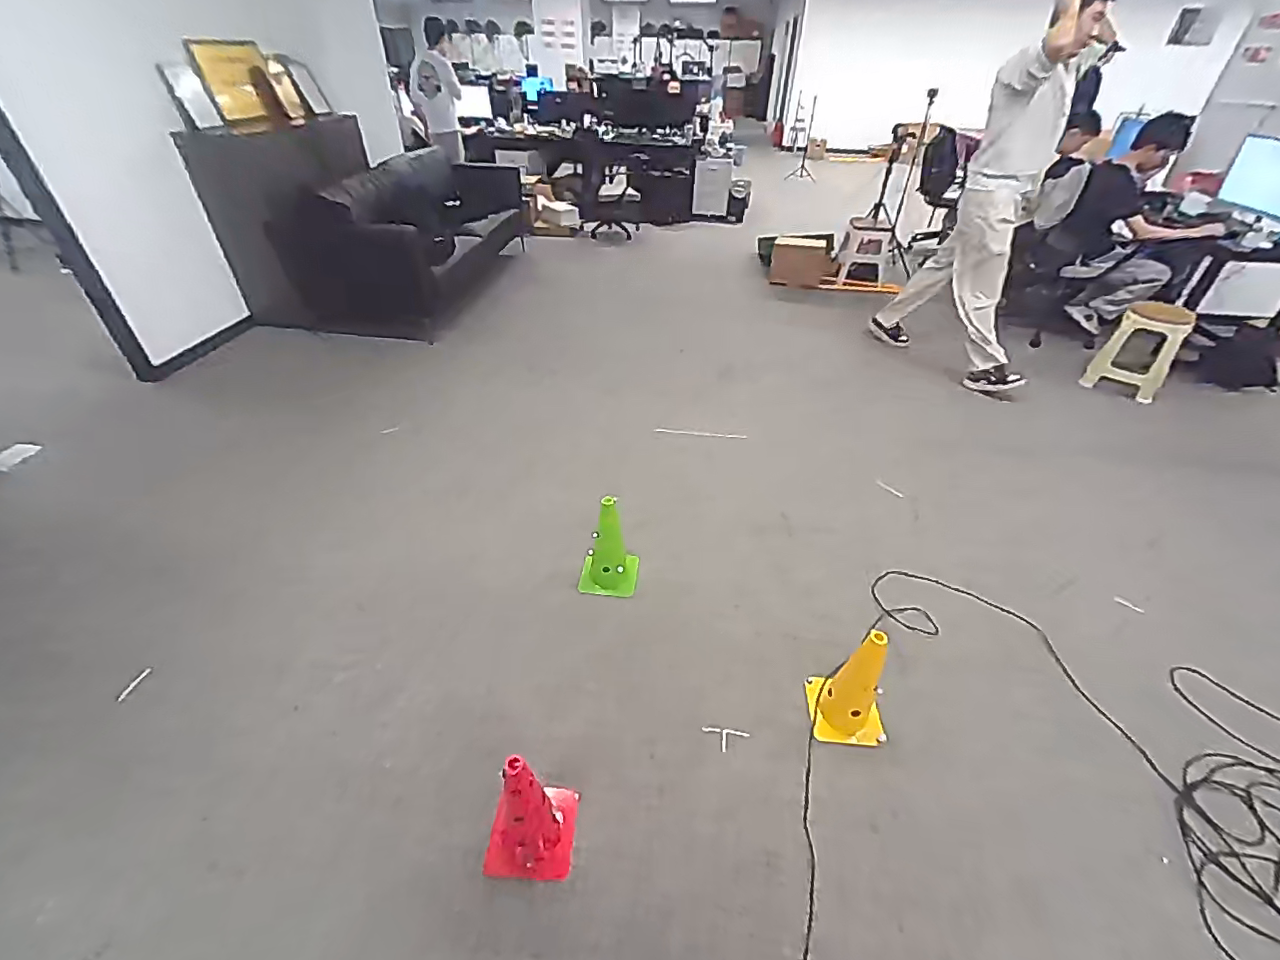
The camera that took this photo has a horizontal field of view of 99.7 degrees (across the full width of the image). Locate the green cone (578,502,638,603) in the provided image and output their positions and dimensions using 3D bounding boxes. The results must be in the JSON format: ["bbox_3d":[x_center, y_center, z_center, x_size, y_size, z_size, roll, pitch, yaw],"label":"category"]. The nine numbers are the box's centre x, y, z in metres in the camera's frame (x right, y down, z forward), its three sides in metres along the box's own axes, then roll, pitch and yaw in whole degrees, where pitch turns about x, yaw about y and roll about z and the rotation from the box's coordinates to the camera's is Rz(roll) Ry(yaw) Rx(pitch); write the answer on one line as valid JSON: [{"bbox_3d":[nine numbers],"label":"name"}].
[{"bbox_3d":[-0.107,0.228,1.867,0.202,0.368,0.200,6,38,4],"label":"green cone"}]

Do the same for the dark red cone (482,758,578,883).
[{"bbox_3d":[-0.253,0.716,1.190,0.202,0.394,0.201,2,39,1],"label":"dark red cone"}]
